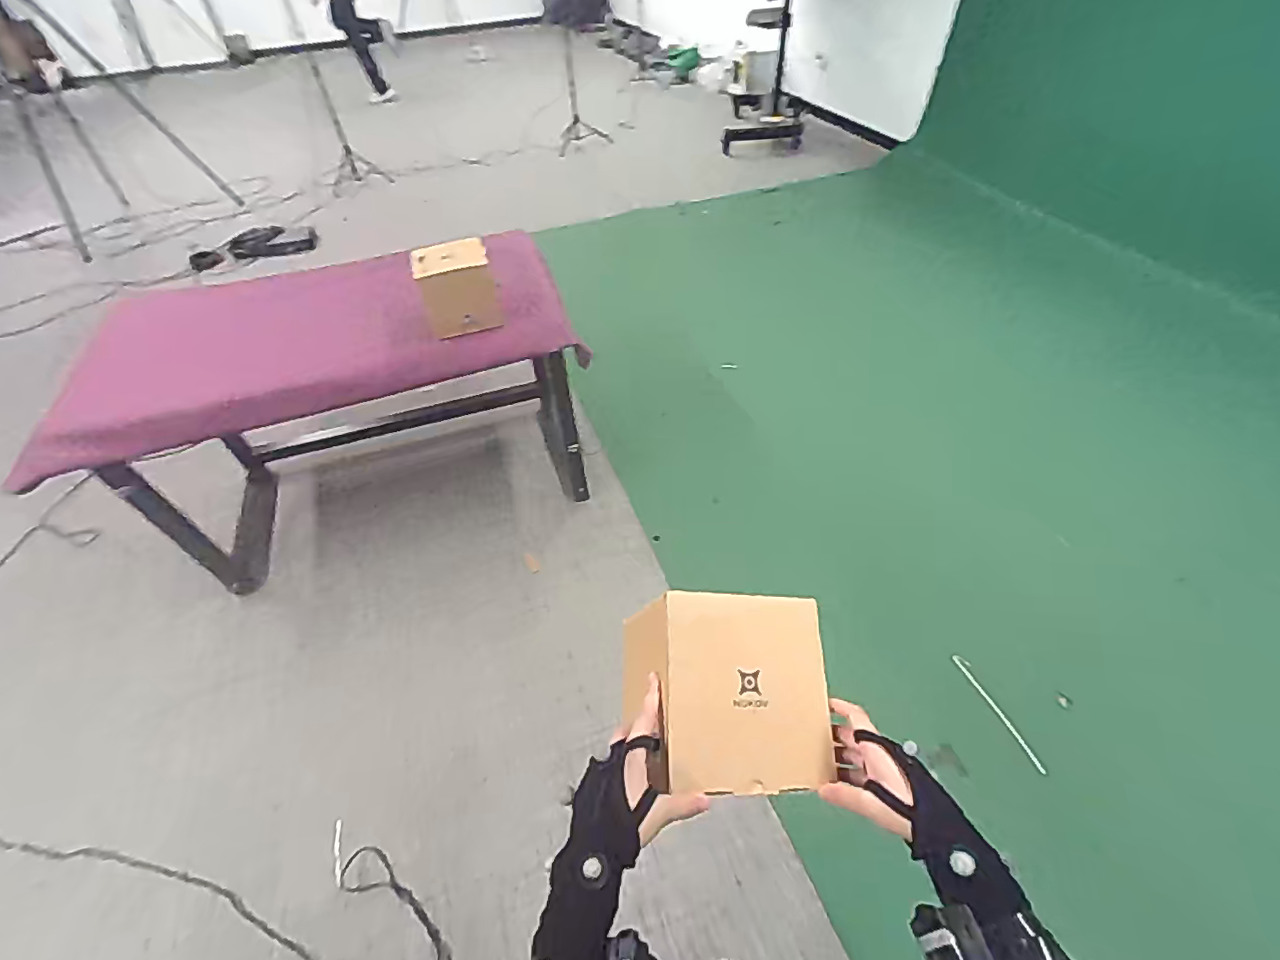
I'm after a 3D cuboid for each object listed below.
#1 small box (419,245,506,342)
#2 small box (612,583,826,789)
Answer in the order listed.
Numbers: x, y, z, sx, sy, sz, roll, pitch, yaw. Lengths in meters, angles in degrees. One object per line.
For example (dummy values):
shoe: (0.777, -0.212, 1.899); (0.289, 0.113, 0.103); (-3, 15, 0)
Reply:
small box: (-0.454, -0.481, 1.397); (0.179, 0.176, 0.168); (-16, 46, -10)
small box: (0.068, 0.218, 0.572); (0.168, 0.176, 0.179); (6, 66, -14)
